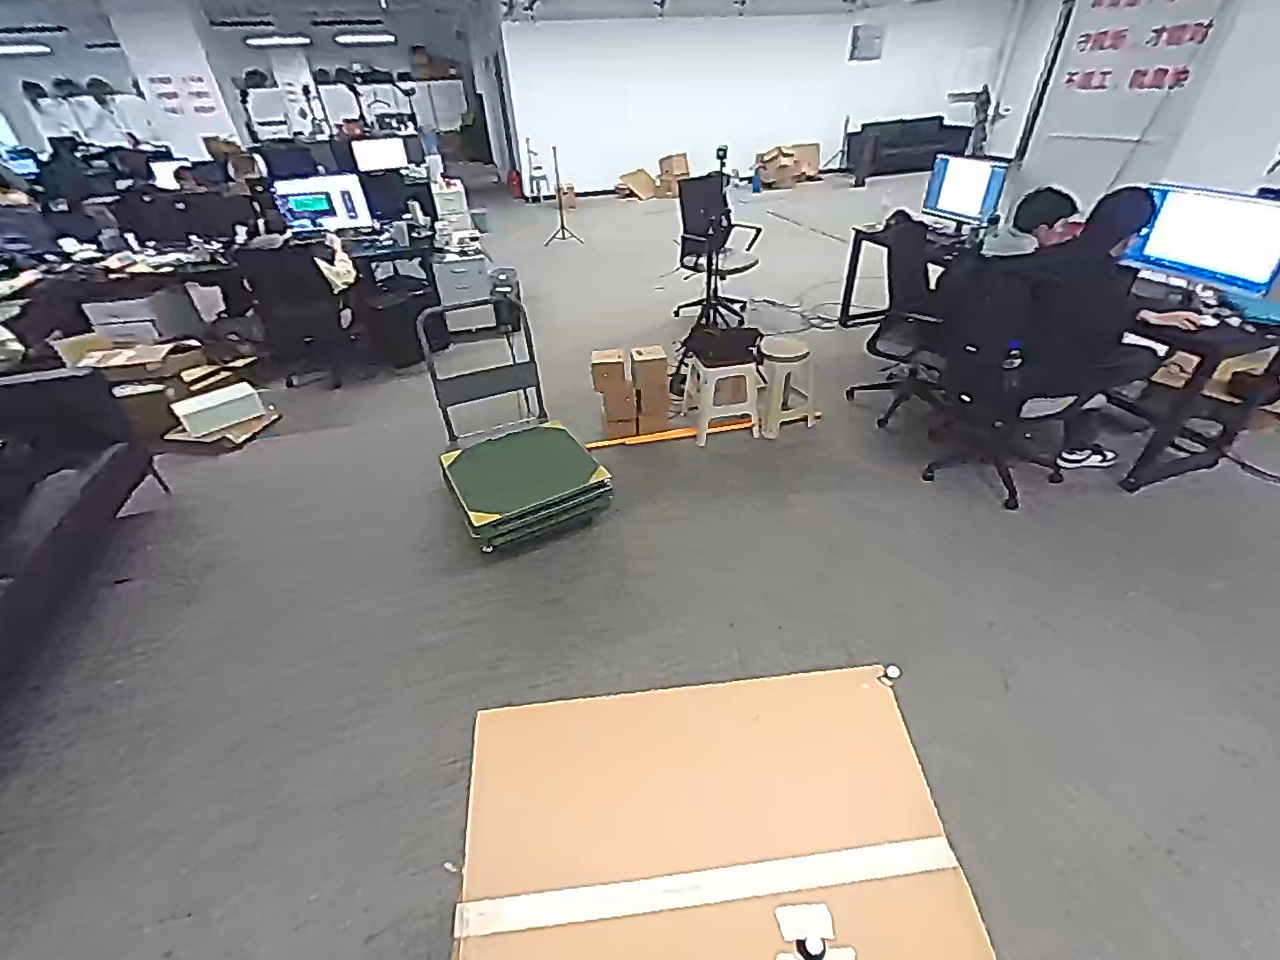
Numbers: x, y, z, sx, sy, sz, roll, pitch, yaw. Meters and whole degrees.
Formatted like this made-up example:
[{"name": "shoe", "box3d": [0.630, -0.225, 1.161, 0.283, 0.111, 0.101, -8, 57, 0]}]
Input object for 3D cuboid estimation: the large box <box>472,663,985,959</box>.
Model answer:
[{"name": "large box", "box3d": [0.061, 0.419, 0.568, 0.408, 0.320, 0.320, -6, 54, -4]}]
